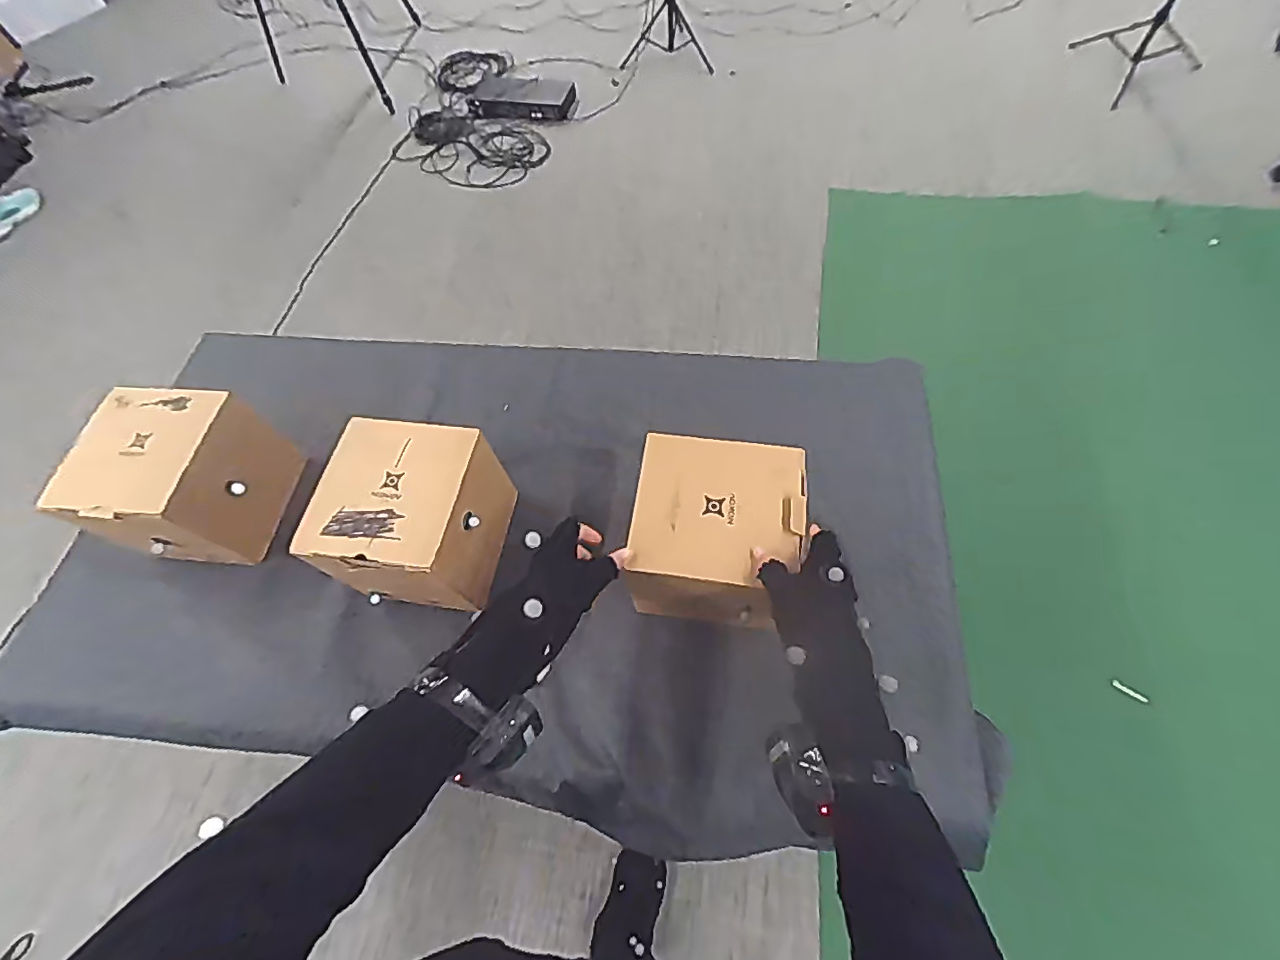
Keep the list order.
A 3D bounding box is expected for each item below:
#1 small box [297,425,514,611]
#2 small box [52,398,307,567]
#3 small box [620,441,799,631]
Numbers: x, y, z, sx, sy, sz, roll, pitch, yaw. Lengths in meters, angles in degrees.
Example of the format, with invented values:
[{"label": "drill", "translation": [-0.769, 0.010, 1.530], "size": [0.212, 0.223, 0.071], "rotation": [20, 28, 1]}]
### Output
[{"label": "small box", "translation": [-0.273, 0.054, 0.680], "size": [0.168, 0.176, 0.179], "rotation": [6, 61, 8]}, {"label": "small box", "translation": [-0.597, 0.010, 0.734], "size": [0.168, 0.176, 0.179], "rotation": [3, 63, 6]}, {"label": "small box", "translation": [0.085, 0.072, 0.640], "size": [0.179, 0.176, 0.168], "rotation": [5, 61, 10]}]
